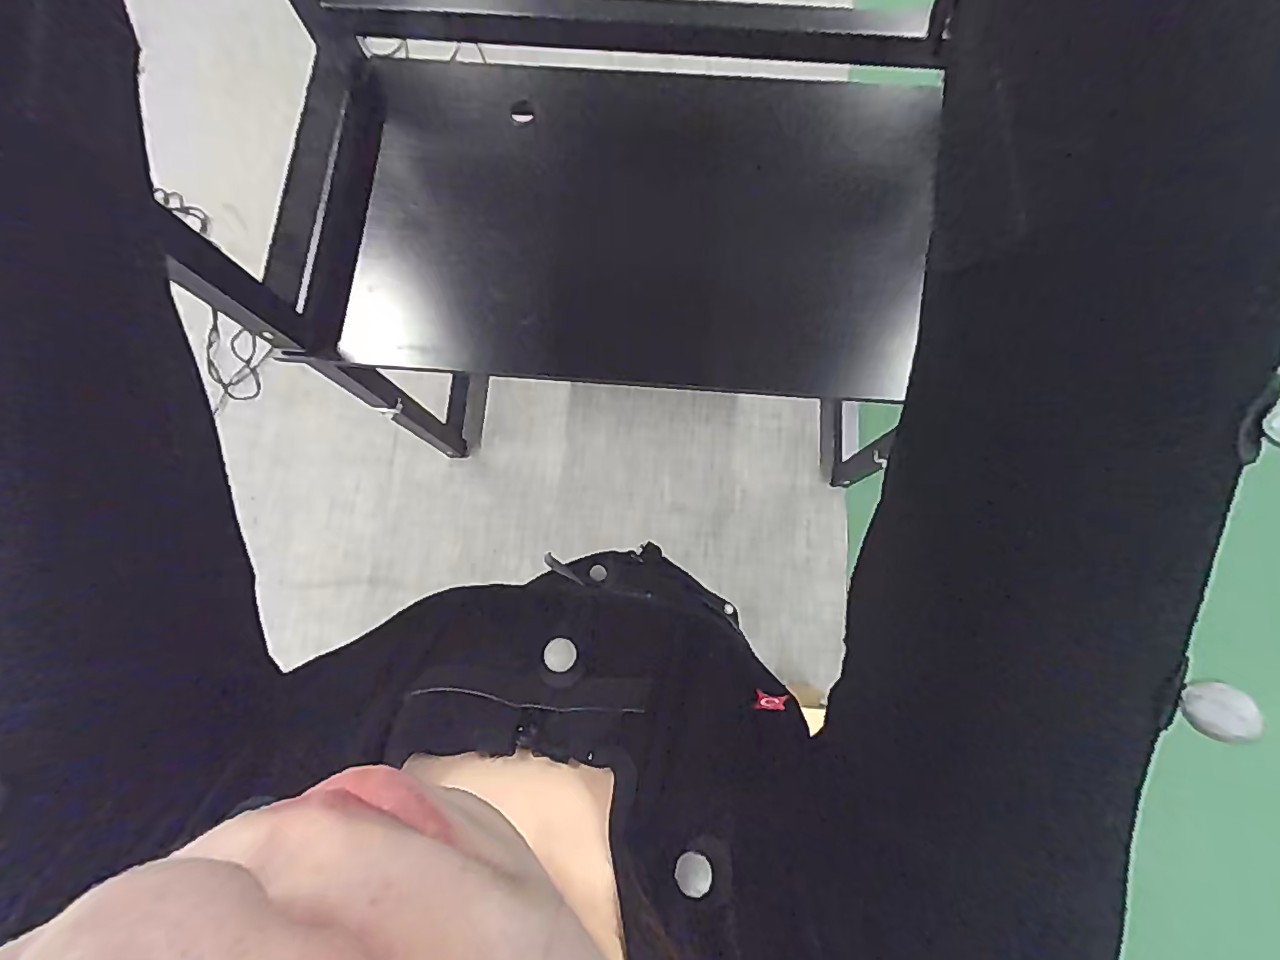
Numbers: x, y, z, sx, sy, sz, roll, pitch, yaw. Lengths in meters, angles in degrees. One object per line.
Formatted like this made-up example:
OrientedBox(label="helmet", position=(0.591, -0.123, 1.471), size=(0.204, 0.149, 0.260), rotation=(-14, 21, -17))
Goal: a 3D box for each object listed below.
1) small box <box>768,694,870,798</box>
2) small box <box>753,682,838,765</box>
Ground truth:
OrientedBox(label="small box", position=(0.385, 0.573, 1.187), size=(0.179, 0.176, 0.168), rotation=(4, 78, 1))
OrientedBox(label="small box", position=(0.380, 0.605, 1.347), size=(0.179, 0.176, 0.168), rotation=(3, 78, 2))
